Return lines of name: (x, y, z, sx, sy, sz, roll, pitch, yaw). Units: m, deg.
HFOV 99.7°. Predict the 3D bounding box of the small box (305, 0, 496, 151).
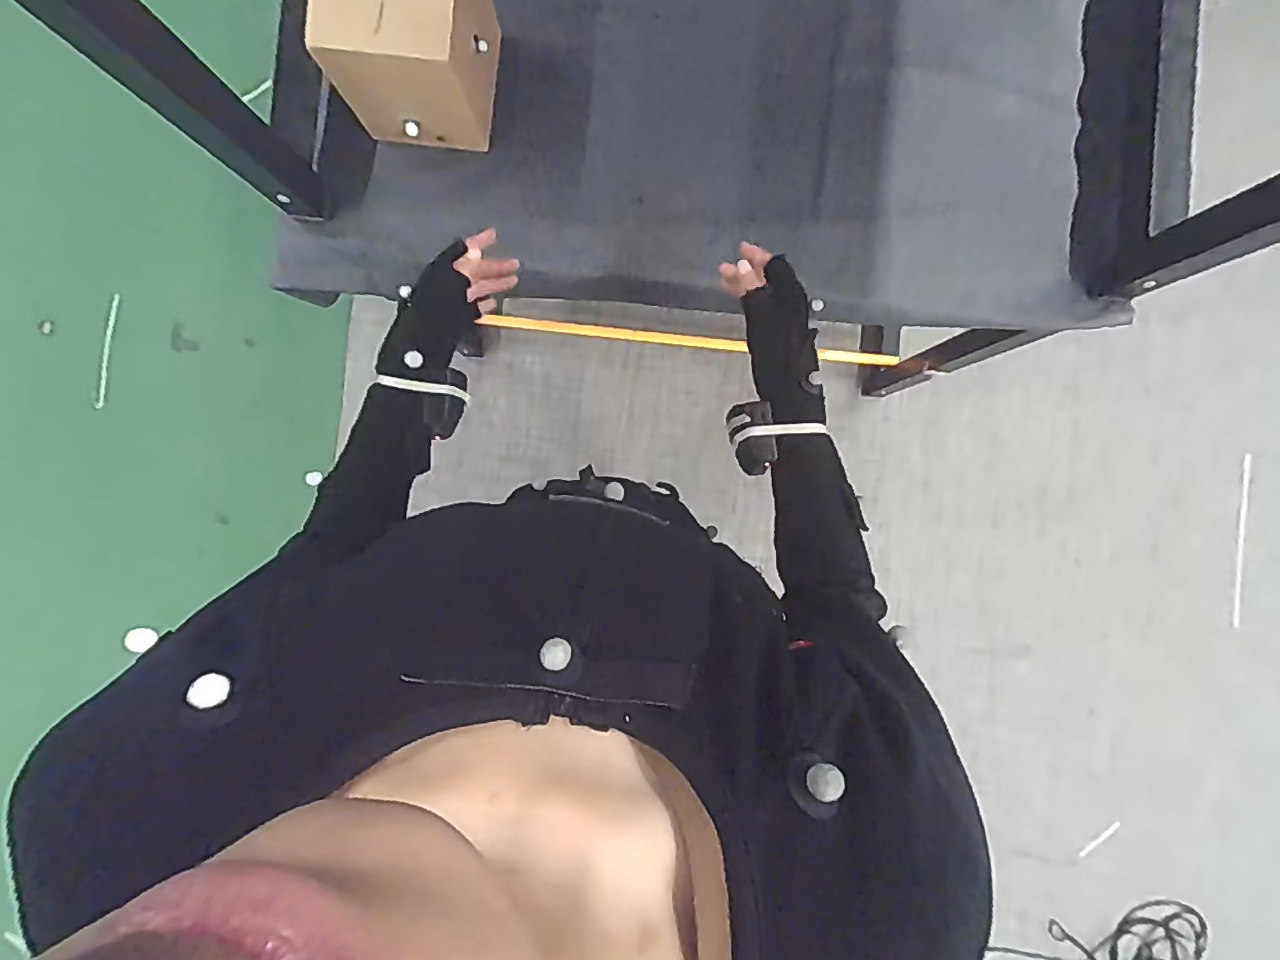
small box: (-0.290, -0.566, 0.692, 0.168, 0.176, 0.179, 6, 89, -1)
